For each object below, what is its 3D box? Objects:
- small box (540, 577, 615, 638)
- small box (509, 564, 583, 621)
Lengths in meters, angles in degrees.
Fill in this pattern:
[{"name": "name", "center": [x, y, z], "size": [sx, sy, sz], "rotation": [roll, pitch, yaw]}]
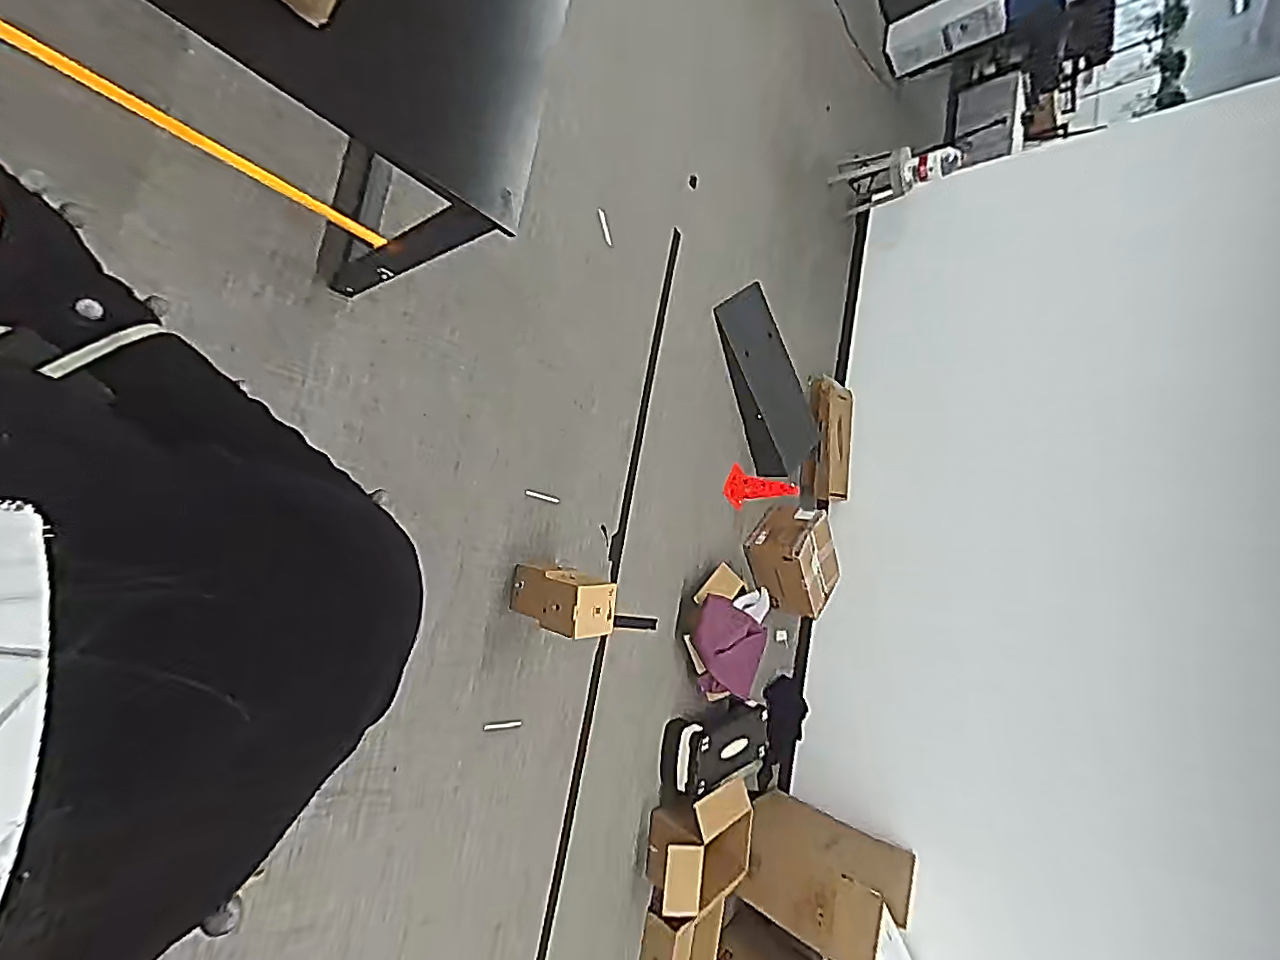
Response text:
[{"name": "small box", "center": [-0.206, 0.410, 1.761], "size": [0.179, 0.176, 0.168], "rotation": [9, 85, -48]}, {"name": "small box", "center": [-0.325, 0.386, 1.873], "size": [0.179, 0.176, 0.168], "rotation": [11, 84, -47]}]
